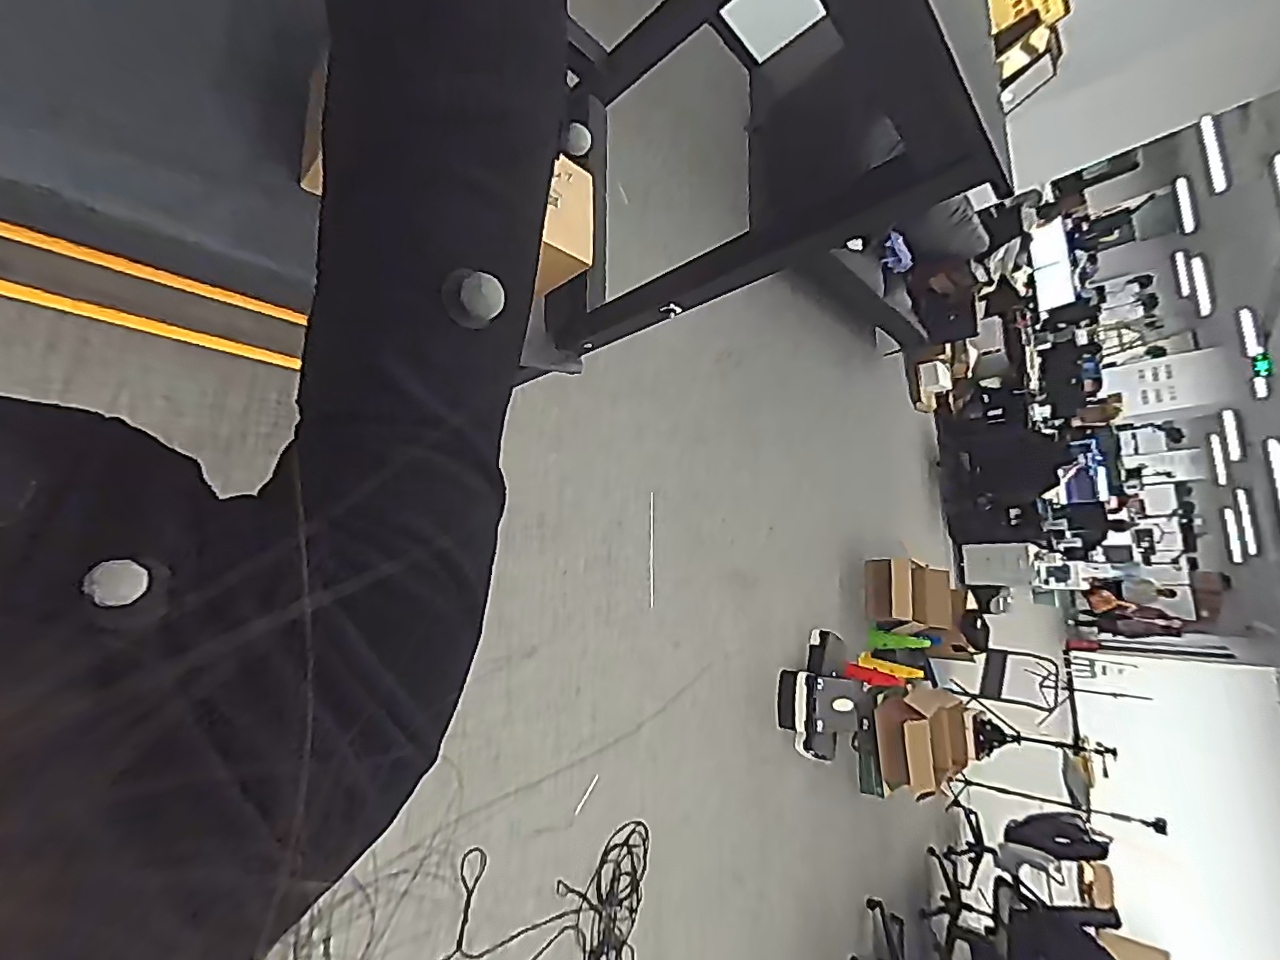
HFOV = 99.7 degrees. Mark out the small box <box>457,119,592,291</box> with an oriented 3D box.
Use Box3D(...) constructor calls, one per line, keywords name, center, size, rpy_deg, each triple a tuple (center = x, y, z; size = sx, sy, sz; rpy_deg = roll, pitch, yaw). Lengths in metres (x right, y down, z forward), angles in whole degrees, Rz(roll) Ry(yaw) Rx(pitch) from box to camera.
Box3D(name="small box", center=(-0.200, -0.455, 0.931), size=(0.168, 0.176, 0.179), rpy_deg=(9, 76, -46))
